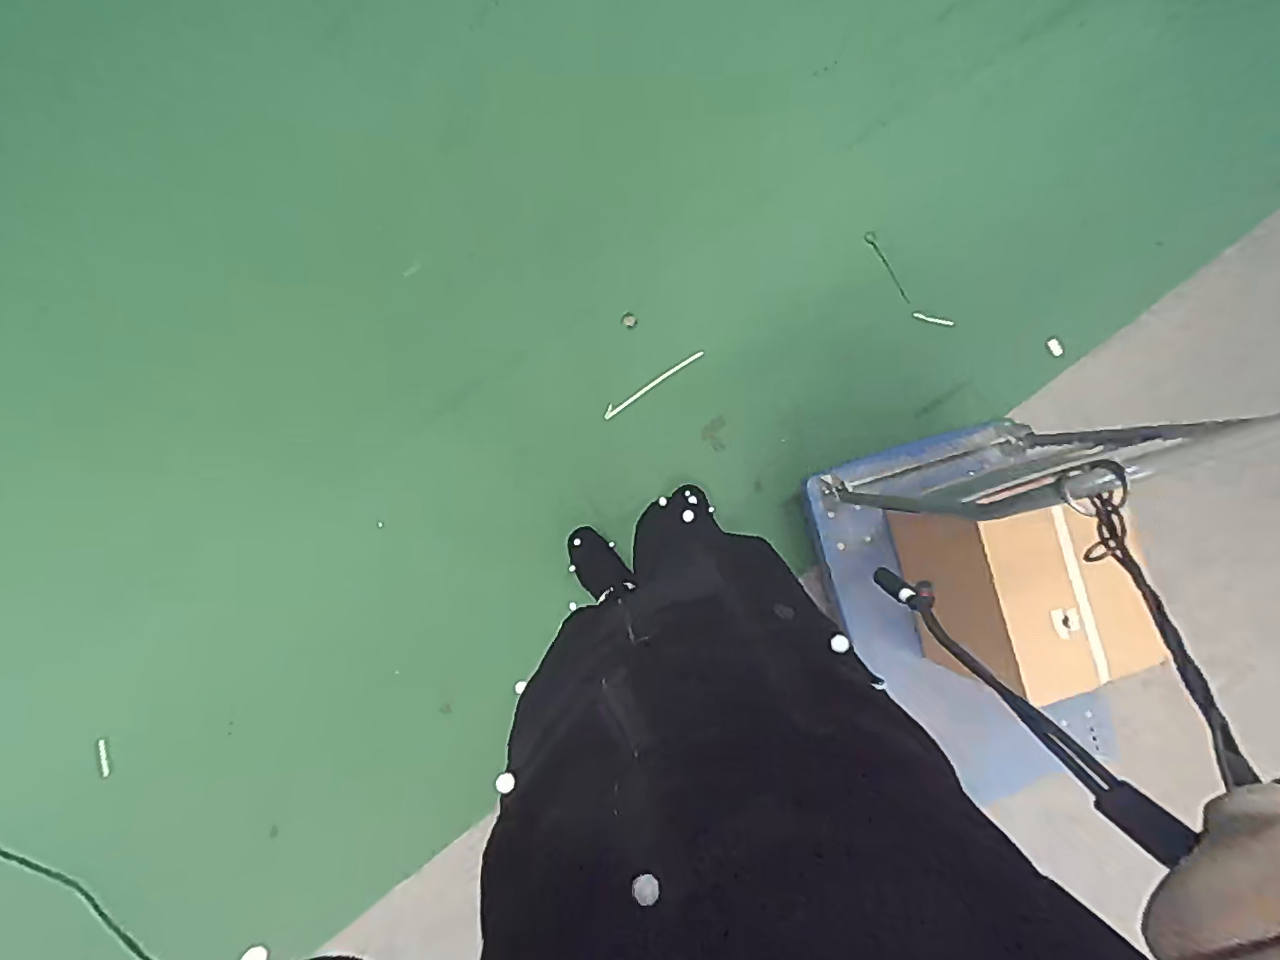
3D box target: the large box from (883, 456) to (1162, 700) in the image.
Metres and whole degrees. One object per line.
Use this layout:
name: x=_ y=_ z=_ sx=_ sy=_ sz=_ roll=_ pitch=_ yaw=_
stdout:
large box: x=0.798 y=0.187 z=1.178 sx=0.320 sy=0.320 sz=0.408 roll=-16 pitch=90 yaw=-6
